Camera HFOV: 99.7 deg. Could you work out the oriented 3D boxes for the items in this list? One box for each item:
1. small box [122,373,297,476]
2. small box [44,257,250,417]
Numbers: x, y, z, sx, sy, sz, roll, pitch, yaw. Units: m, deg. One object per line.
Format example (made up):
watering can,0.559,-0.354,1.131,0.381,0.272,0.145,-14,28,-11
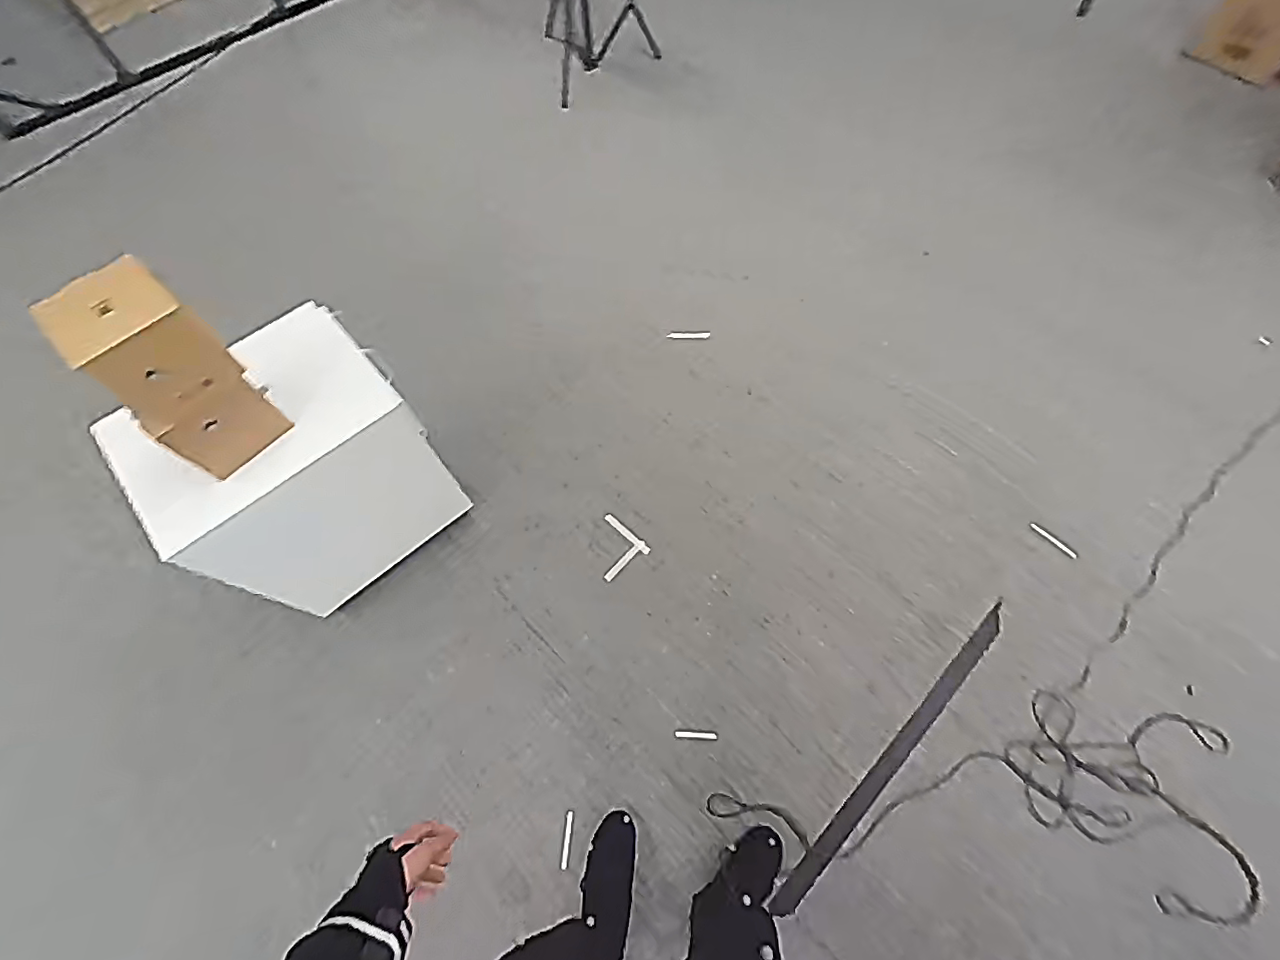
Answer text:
small box,-0.828,-0.137,1.057,0.168,0.176,0.179,38,70,17
small box,-0.823,-0.232,0.922,0.179,0.176,0.168,40,71,18
